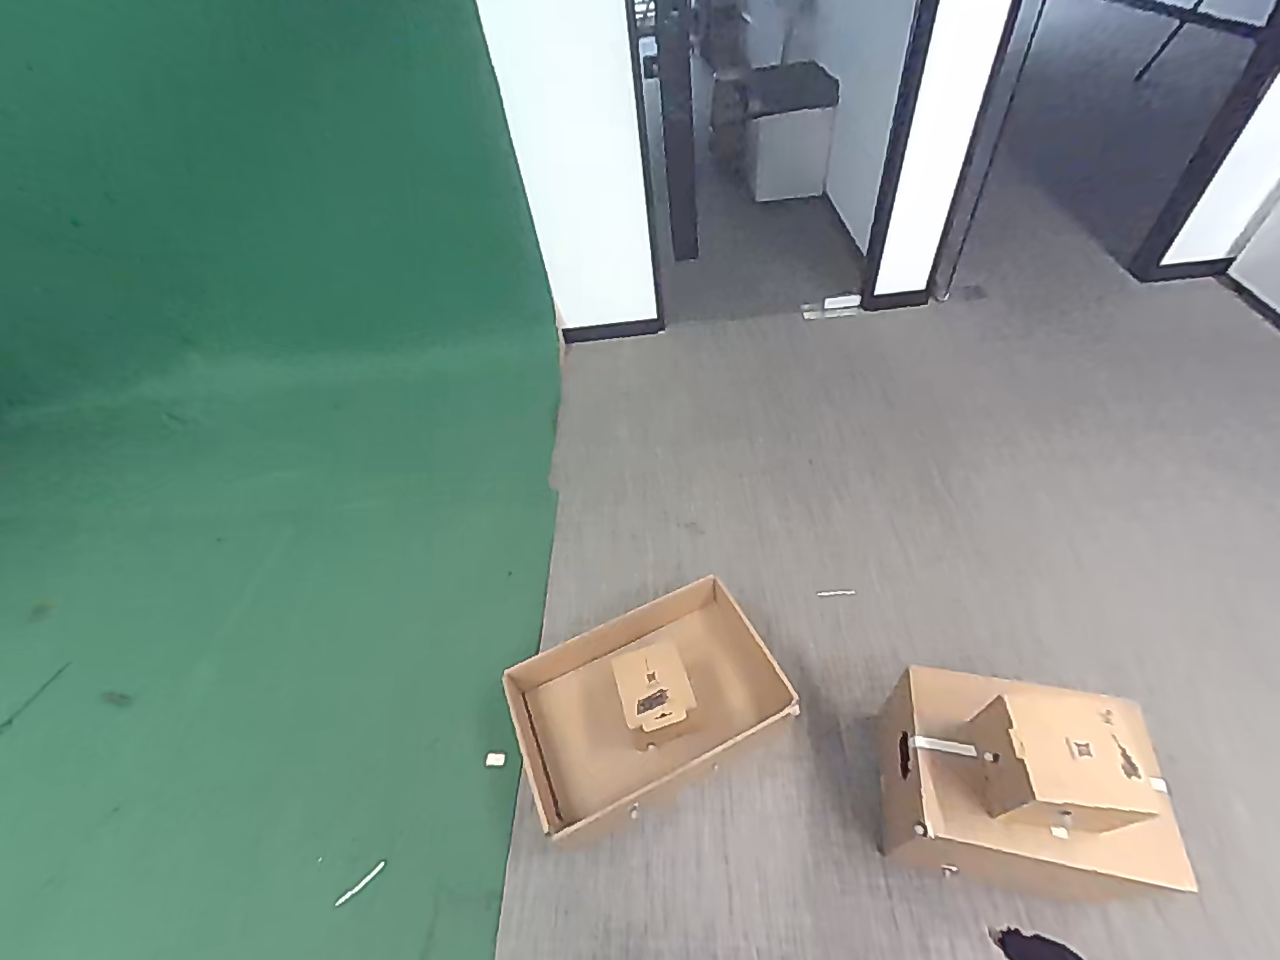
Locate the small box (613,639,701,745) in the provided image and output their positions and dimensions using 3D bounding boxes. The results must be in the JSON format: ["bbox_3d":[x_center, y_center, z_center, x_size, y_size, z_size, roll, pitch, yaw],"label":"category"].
[{"bbox_3d":[0.044,0.527,1.326,0.168,0.176,0.179,-17,47,-5],"label":"small box"}]

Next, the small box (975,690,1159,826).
[{"bbox_3d":[0.697,0.472,0.915,0.179,0.176,0.168,0,50,10],"label":"small box"}]
